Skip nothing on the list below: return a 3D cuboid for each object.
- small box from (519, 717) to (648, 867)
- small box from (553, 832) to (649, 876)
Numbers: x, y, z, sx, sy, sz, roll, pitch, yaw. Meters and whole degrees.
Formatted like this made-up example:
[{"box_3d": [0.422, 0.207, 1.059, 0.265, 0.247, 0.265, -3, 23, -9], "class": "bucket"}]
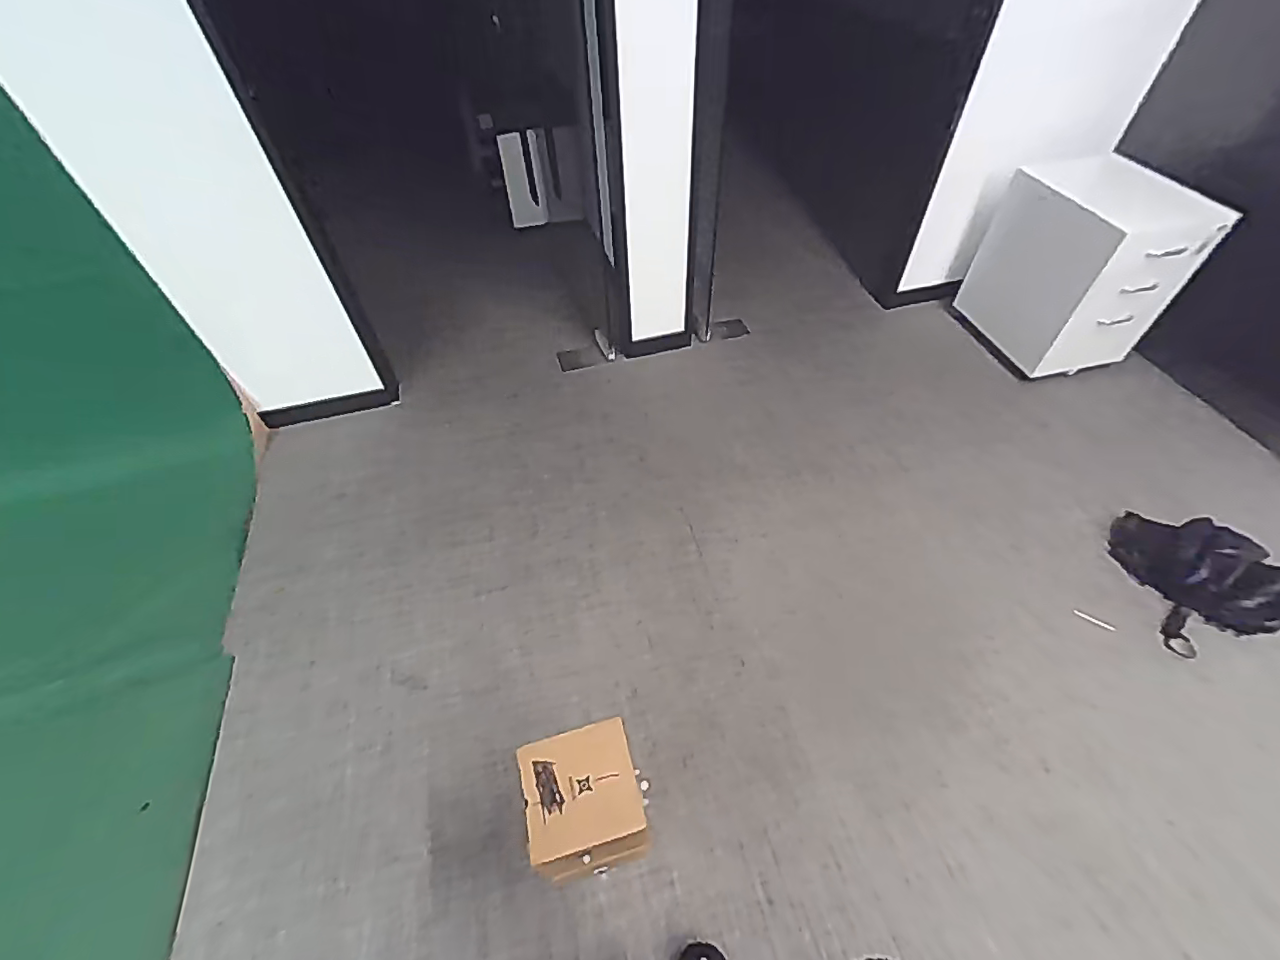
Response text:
[{"box_3d": [-0.091, 0.527, 0.907, 0.179, 0.176, 0.168, -13, 52, -8], "class": "small box"}, {"box_3d": [-0.084, 0.620, 1.022, 0.168, 0.176, 0.179, -15, 53, -8], "class": "small box"}]
